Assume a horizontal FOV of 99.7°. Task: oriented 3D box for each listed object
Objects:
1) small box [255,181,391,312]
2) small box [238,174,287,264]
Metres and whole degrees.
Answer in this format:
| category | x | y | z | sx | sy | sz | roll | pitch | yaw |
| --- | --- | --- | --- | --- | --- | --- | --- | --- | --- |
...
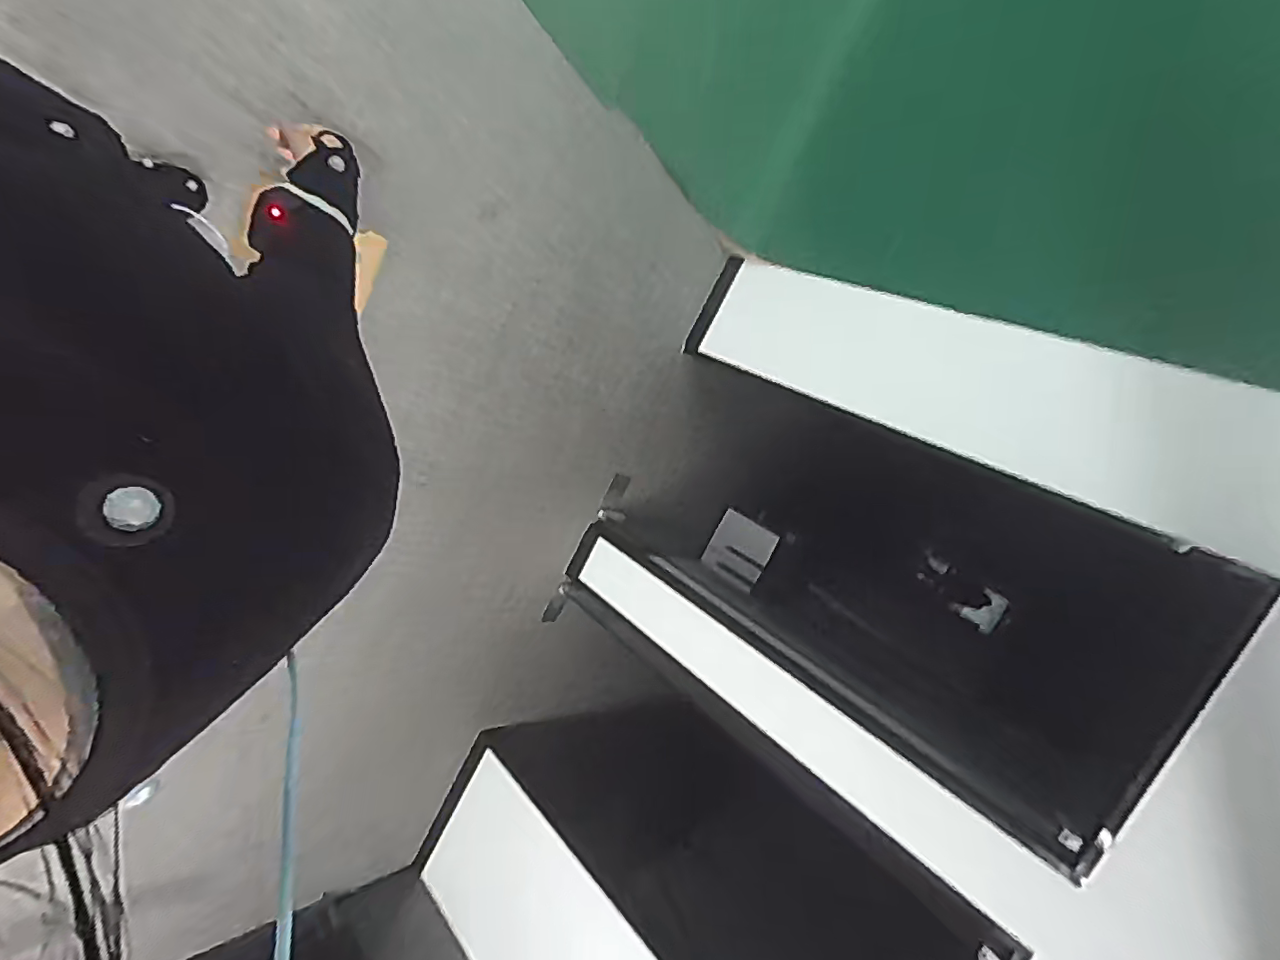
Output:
| category | x | y | z | sx | sy | sz | roll | pitch | yaw |
| --- | --- | --- | --- | --- | --- | --- | --- | --- | --- |
| small box | -0.644 | -0.471 | 1.092 | 0.168 | 0.176 | 0.179 | 14 | 103 | -55 |
| small box | -0.752 | -0.541 | 1.192 | 0.168 | 0.176 | 0.179 | 14 | 104 | -55 |
